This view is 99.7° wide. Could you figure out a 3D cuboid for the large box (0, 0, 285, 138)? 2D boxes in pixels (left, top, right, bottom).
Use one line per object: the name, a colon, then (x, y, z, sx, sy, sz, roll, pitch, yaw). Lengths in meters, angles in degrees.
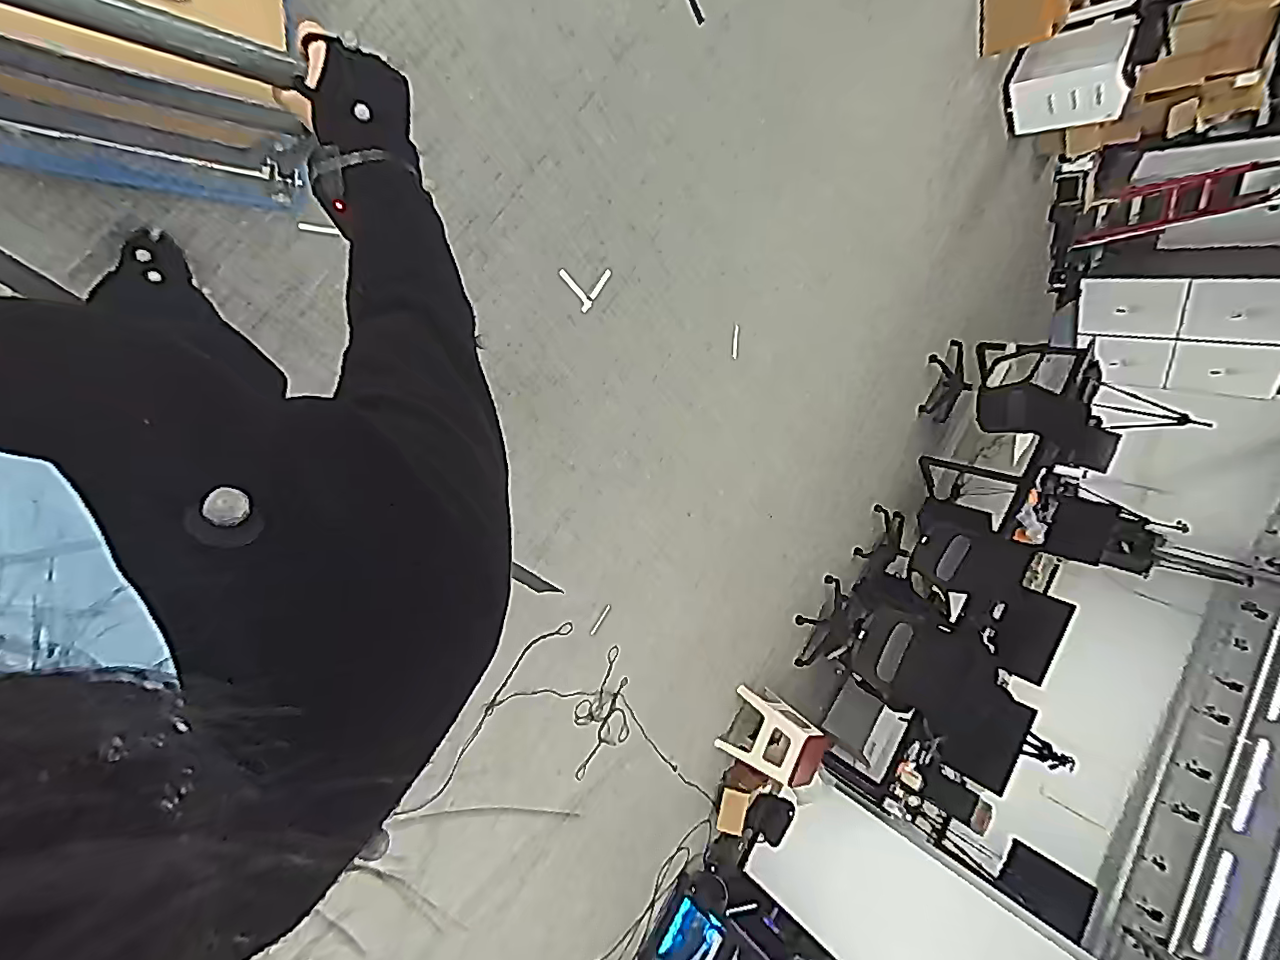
large box: (-0.754, -0.700, 0.711, 0.408, 0.320, 0.320, -11, 113, -44)
